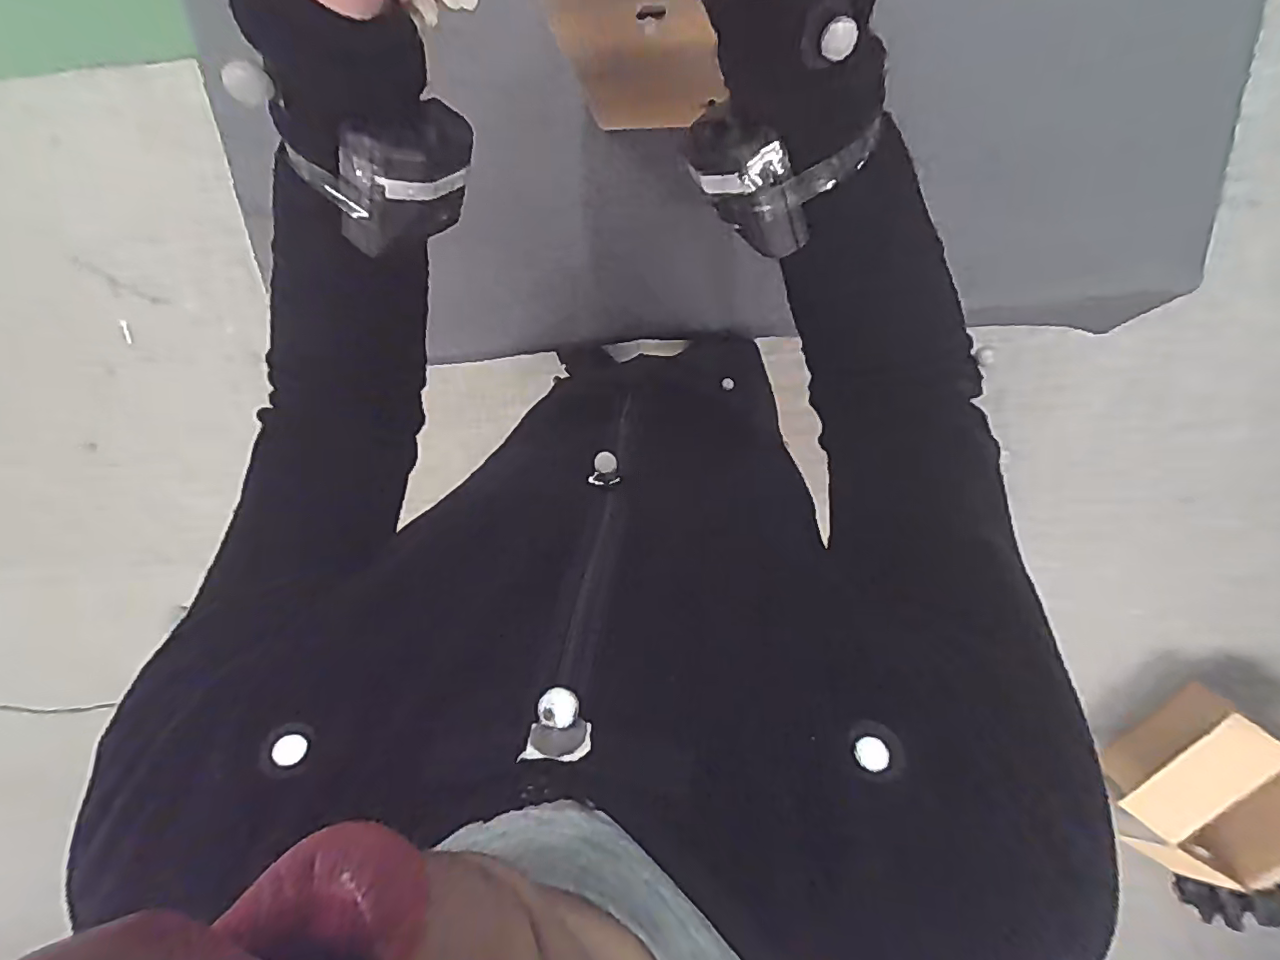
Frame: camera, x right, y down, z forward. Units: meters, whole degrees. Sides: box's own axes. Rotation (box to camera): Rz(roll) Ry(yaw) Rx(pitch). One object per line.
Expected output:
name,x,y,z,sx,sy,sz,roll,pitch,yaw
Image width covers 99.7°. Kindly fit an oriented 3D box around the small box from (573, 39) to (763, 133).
small box,0.029,-0.472,0.550,0.179,0.176,0.168,0,108,5
